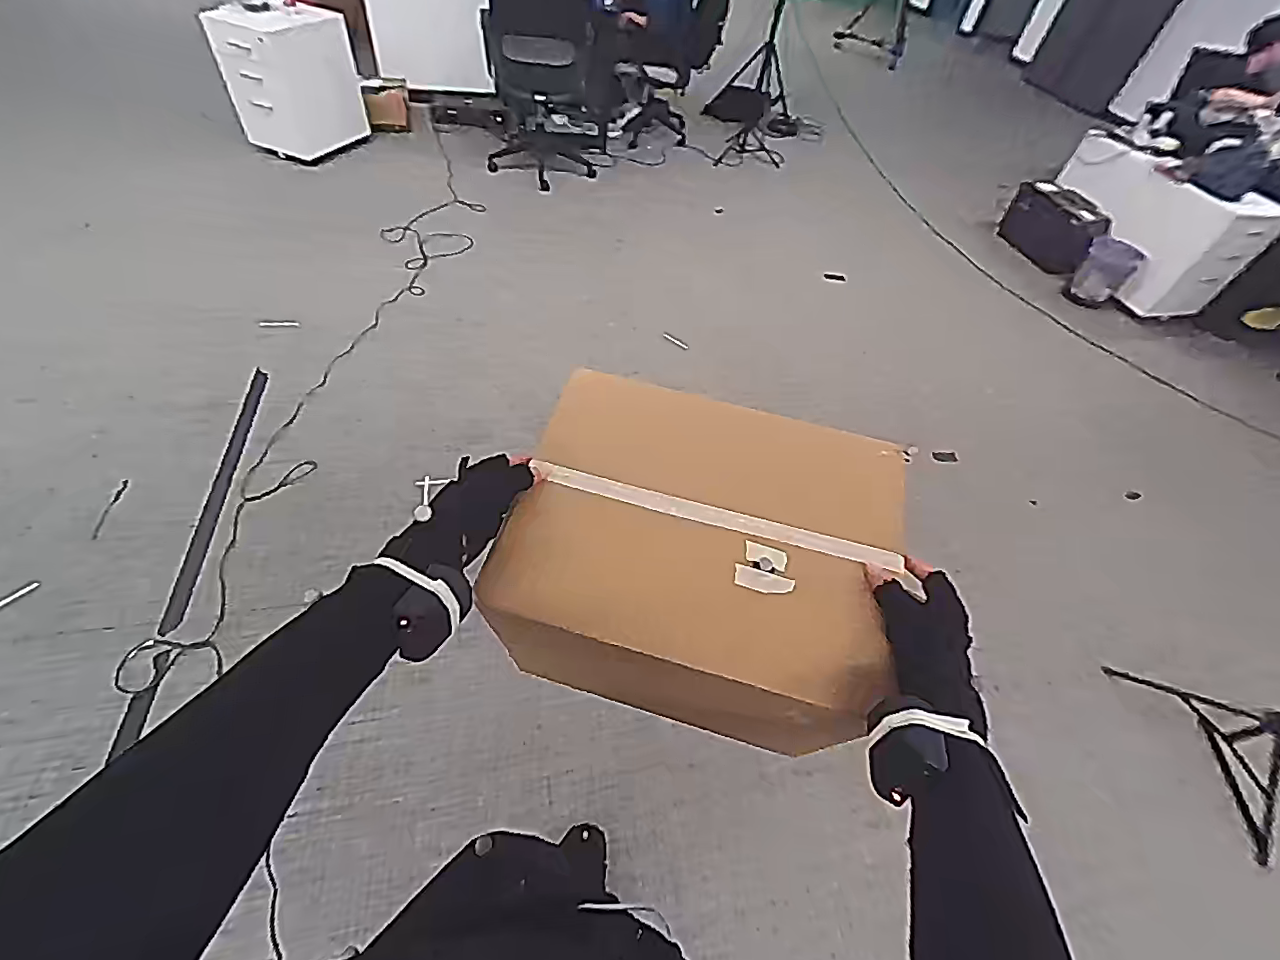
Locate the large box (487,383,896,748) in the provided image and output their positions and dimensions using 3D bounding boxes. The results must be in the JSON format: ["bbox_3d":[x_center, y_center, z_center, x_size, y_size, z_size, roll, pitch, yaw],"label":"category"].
[{"bbox_3d":[0.067,0.124,0.716,0.408,0.320,0.320,15,60,6],"label":"large box"}]
